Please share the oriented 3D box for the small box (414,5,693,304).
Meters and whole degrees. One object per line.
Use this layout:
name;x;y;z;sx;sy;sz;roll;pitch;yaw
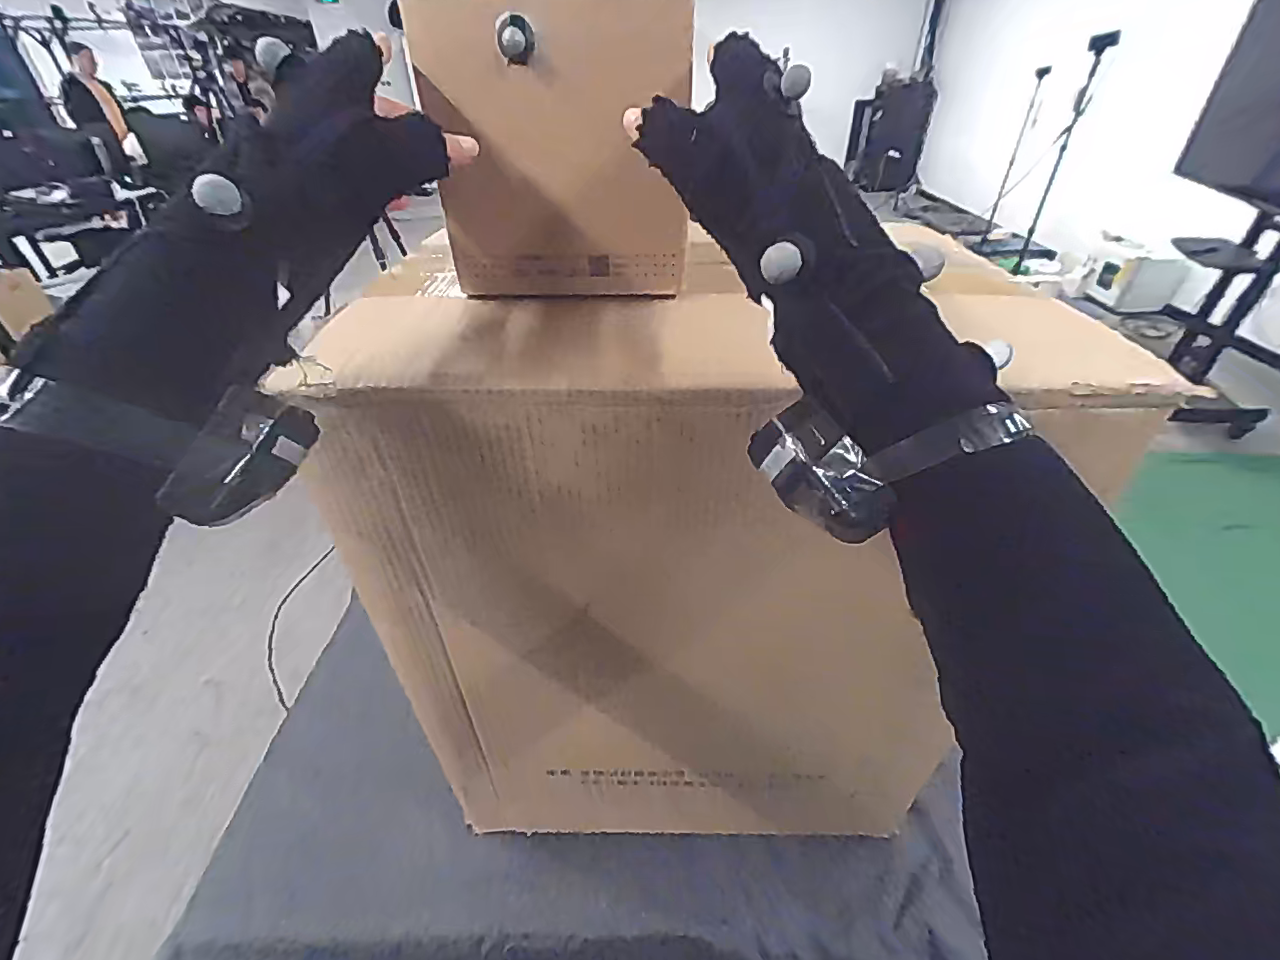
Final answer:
small box;-0.046;-0.248;0.421;0.168;0.176;0.179;1;36;3
